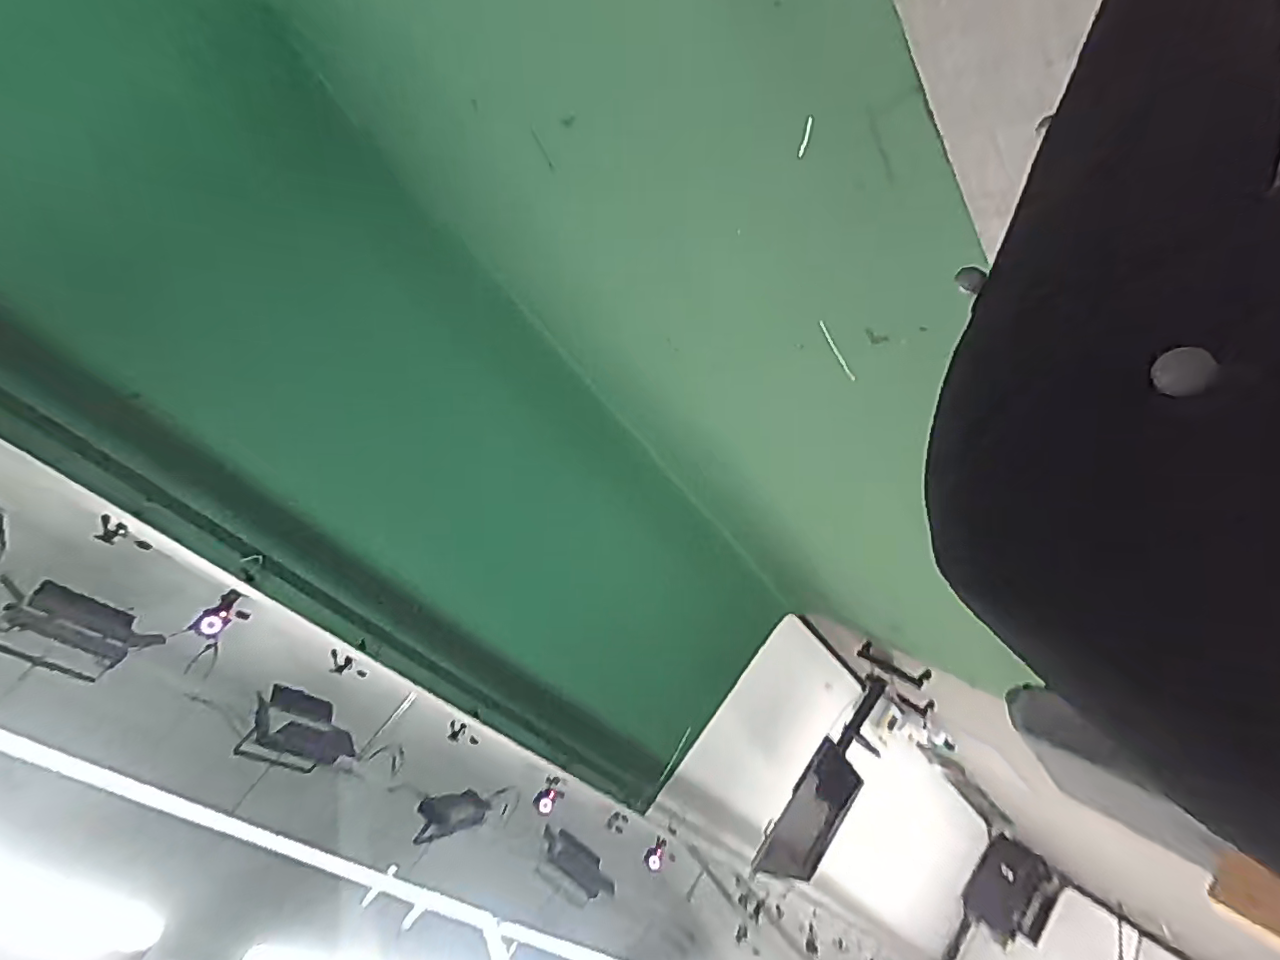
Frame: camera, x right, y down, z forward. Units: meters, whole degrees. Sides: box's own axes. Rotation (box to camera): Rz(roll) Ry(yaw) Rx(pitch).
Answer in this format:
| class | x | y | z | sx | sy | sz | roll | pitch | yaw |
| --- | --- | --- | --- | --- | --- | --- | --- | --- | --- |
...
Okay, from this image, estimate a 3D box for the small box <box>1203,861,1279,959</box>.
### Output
| class | x | y | z | sx | sy | sz | roll | pitch | yaw |
| --- | --- | --- | --- | --- | --- | --- | --- | --- | --- |
| small box | 1.738 | 1.223 | 1.511 | 0.168 | 0.176 | 0.179 | 48 | 166 | -25 |
